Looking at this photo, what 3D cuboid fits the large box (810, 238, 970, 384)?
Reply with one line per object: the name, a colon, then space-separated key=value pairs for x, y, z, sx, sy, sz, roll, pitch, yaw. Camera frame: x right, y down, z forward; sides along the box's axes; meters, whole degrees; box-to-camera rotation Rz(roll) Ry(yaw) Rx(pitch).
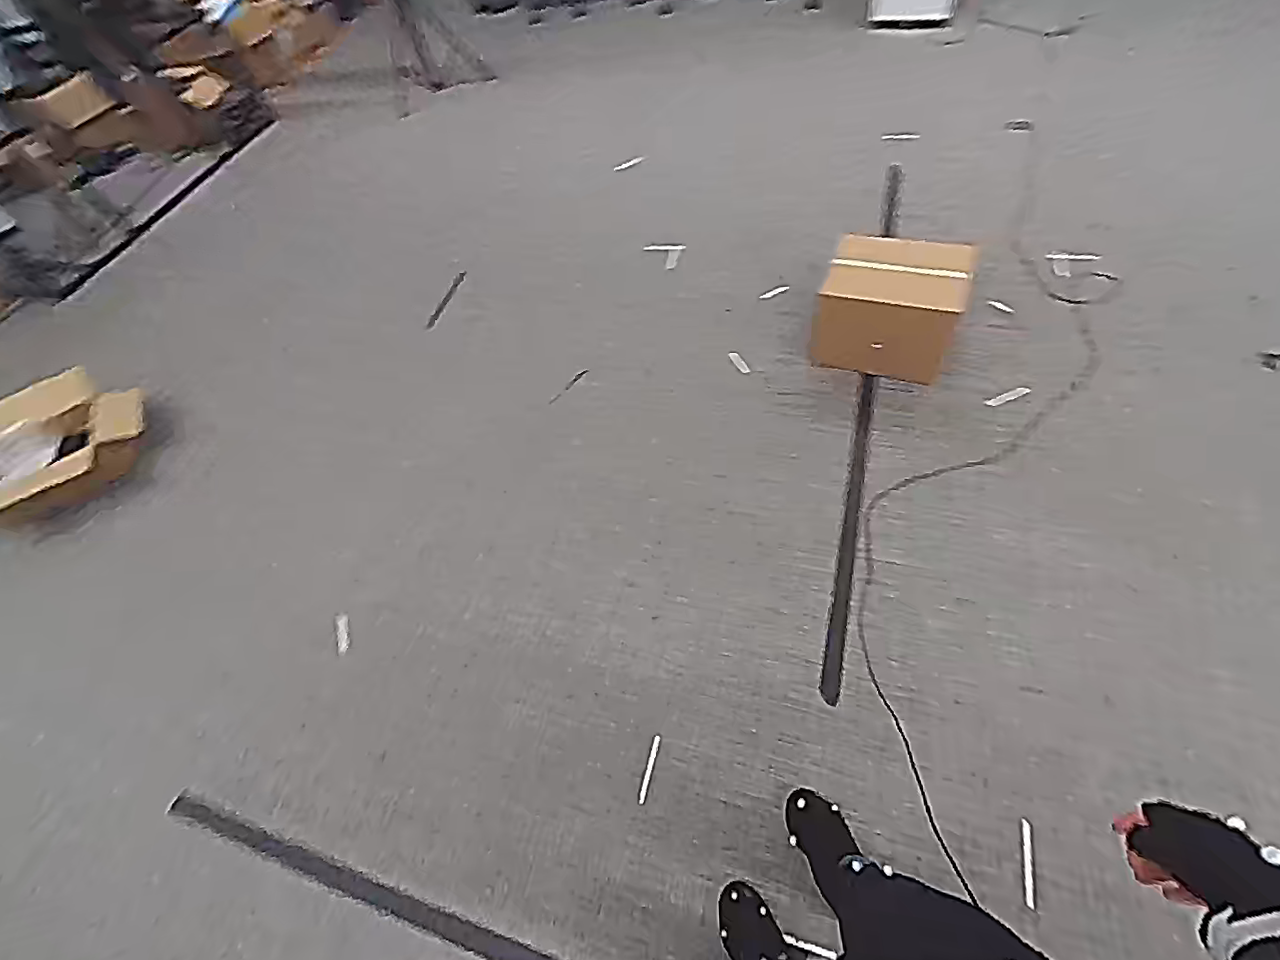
large box: x=0.814 y=-0.563 z=1.803 sx=0.408 sy=0.320 sz=0.320 roll=16 pitch=62 yaw=20
